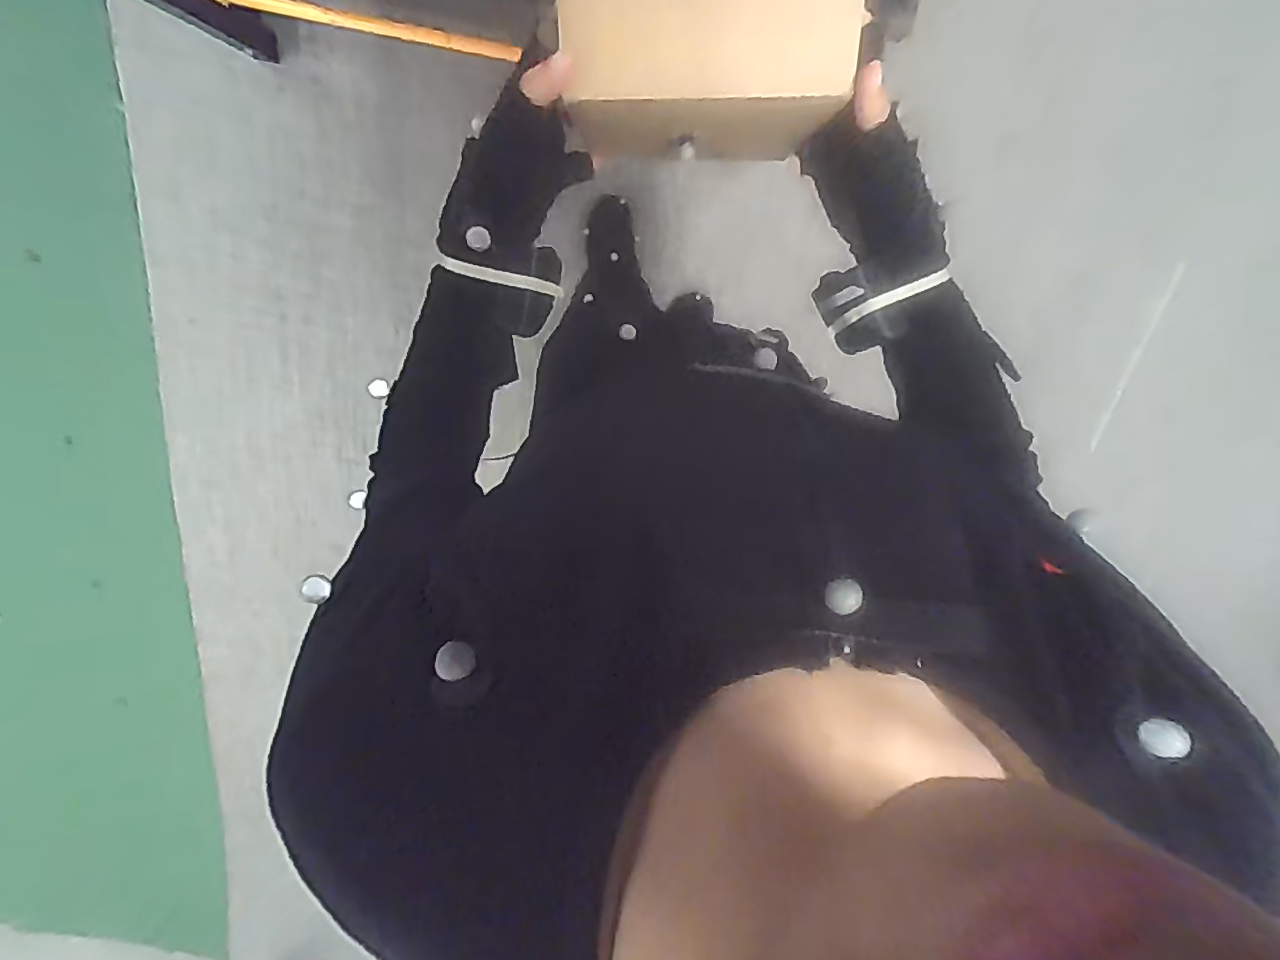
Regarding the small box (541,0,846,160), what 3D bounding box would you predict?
[{"bbox_3d":[0.031,-0.321,0.351,0.168,0.176,0.179,0,109,1],"label":"small box"}]
